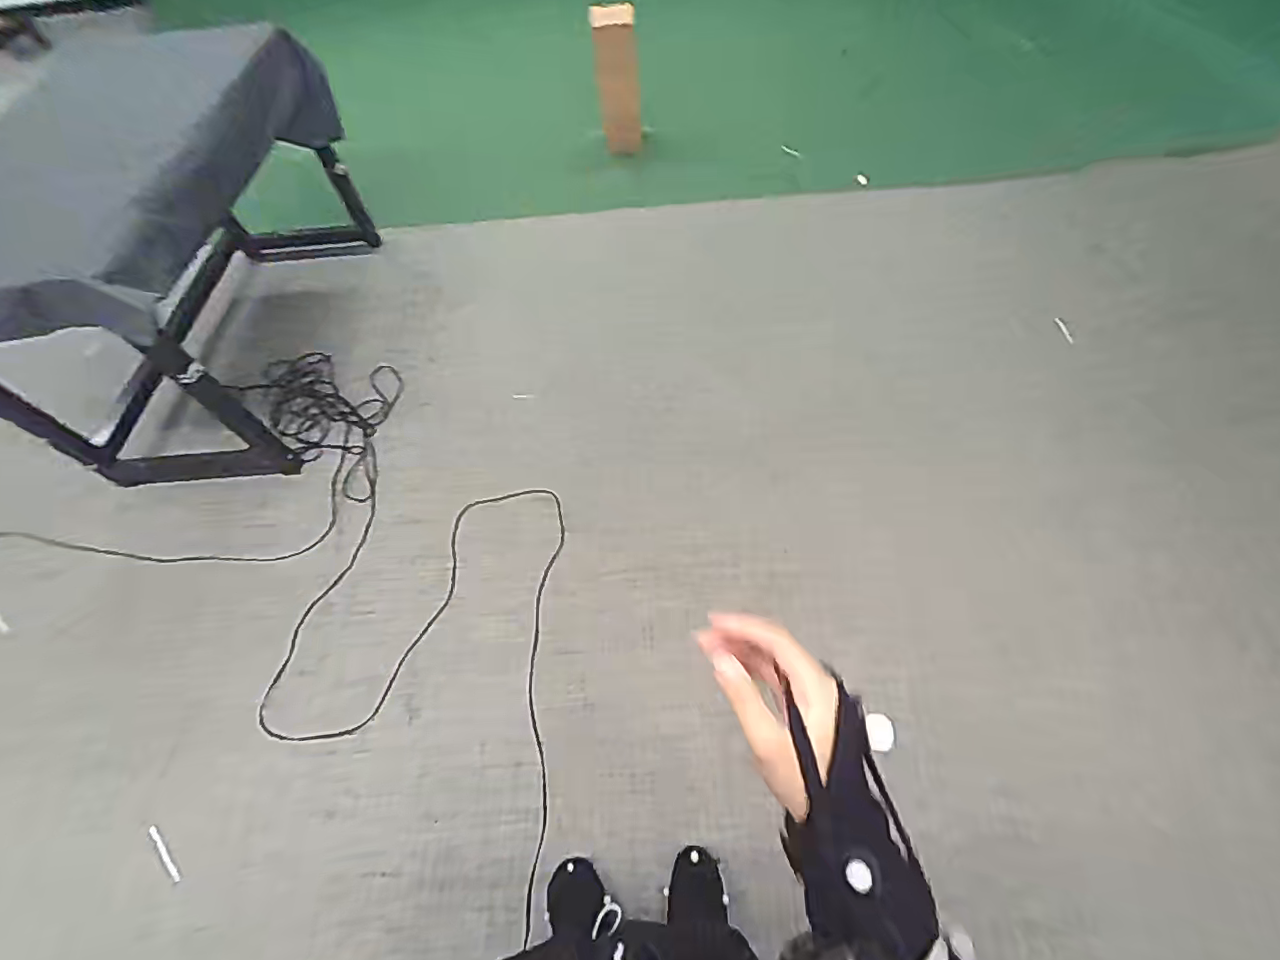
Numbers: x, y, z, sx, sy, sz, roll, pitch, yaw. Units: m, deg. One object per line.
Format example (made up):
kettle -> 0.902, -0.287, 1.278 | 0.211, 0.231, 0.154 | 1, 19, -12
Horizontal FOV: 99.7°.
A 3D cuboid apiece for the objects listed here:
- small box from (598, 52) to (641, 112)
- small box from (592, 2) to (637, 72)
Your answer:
small box -> -0.085, -1.714, 2.330 | 0.168, 0.176, 0.179 | -2, 58, 4
small box -> -0.101, -1.793, 2.189 | 0.168, 0.176, 0.179 | -5, 59, 3
